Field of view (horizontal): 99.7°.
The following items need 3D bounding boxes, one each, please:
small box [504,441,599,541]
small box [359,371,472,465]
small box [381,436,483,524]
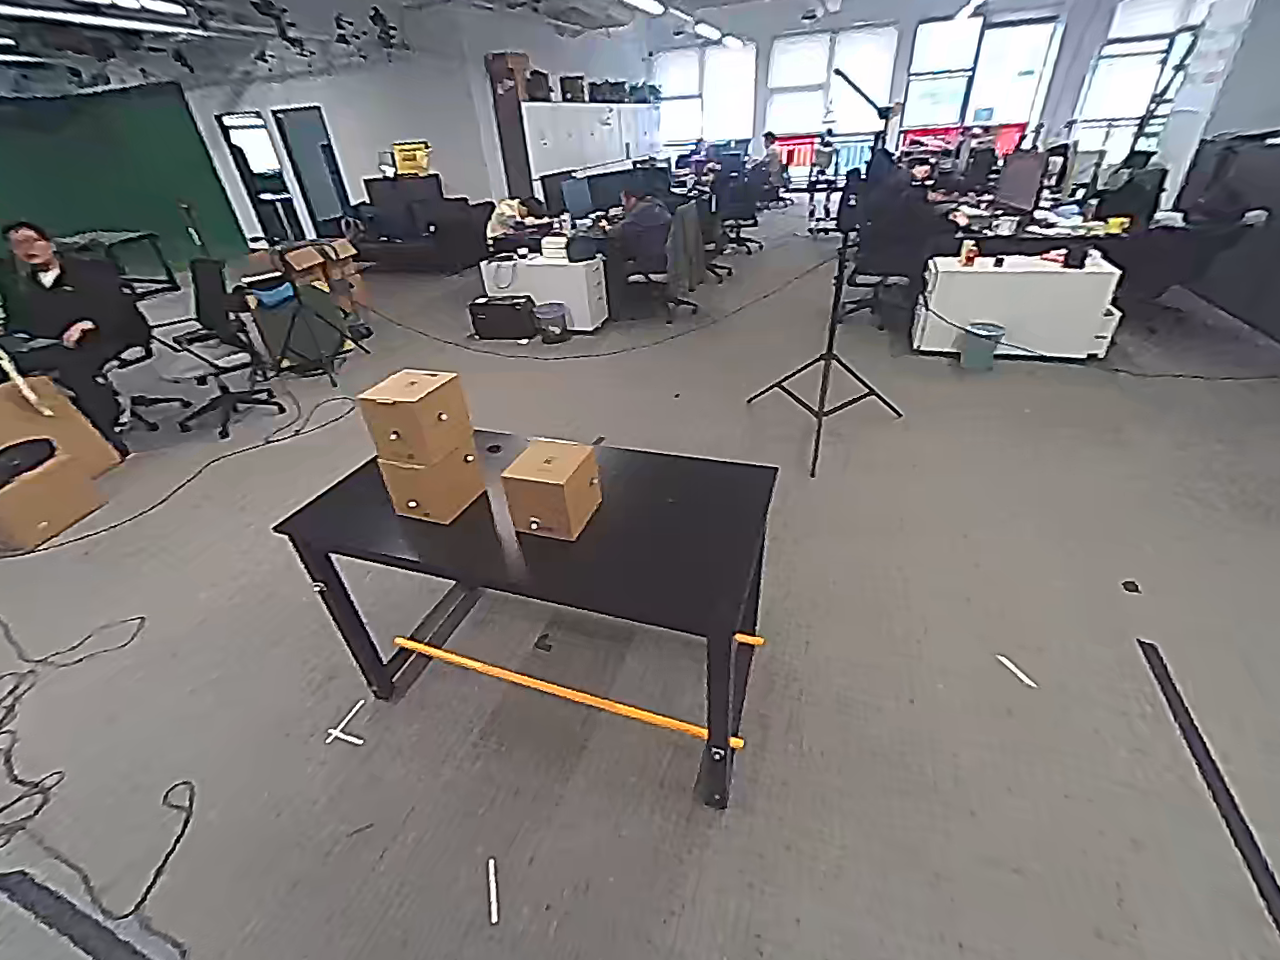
[{"bbox_3d":[-0.207,0.025,1.327,0.168,0.176,0.179,6,35,18],"label":"small box"},{"bbox_3d":[-0.540,-0.154,1.330,0.168,0.176,0.179,8,35,17],"label":"small box"},{"bbox_3d":[-0.531,-0.012,1.412,0.168,0.176,0.179,9,36,19],"label":"small box"}]
